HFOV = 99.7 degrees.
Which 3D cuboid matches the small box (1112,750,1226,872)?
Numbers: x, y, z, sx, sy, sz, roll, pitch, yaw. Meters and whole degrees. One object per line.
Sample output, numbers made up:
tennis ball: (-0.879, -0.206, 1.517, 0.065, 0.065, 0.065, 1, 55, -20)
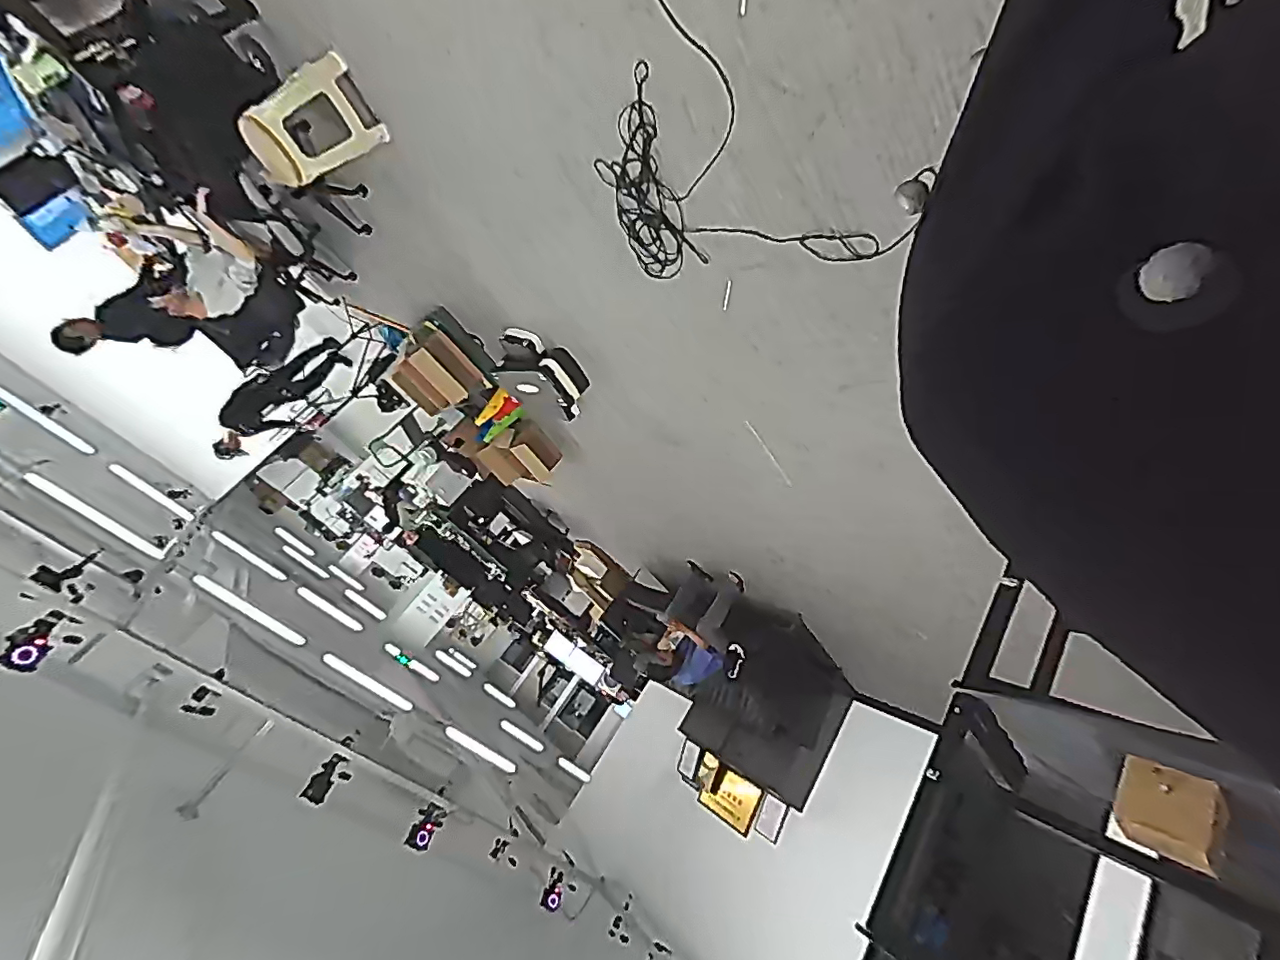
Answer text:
small box: (1.307, 0.807, 1.333, 0.179, 0.176, 0.168, 47, 156, -26)
